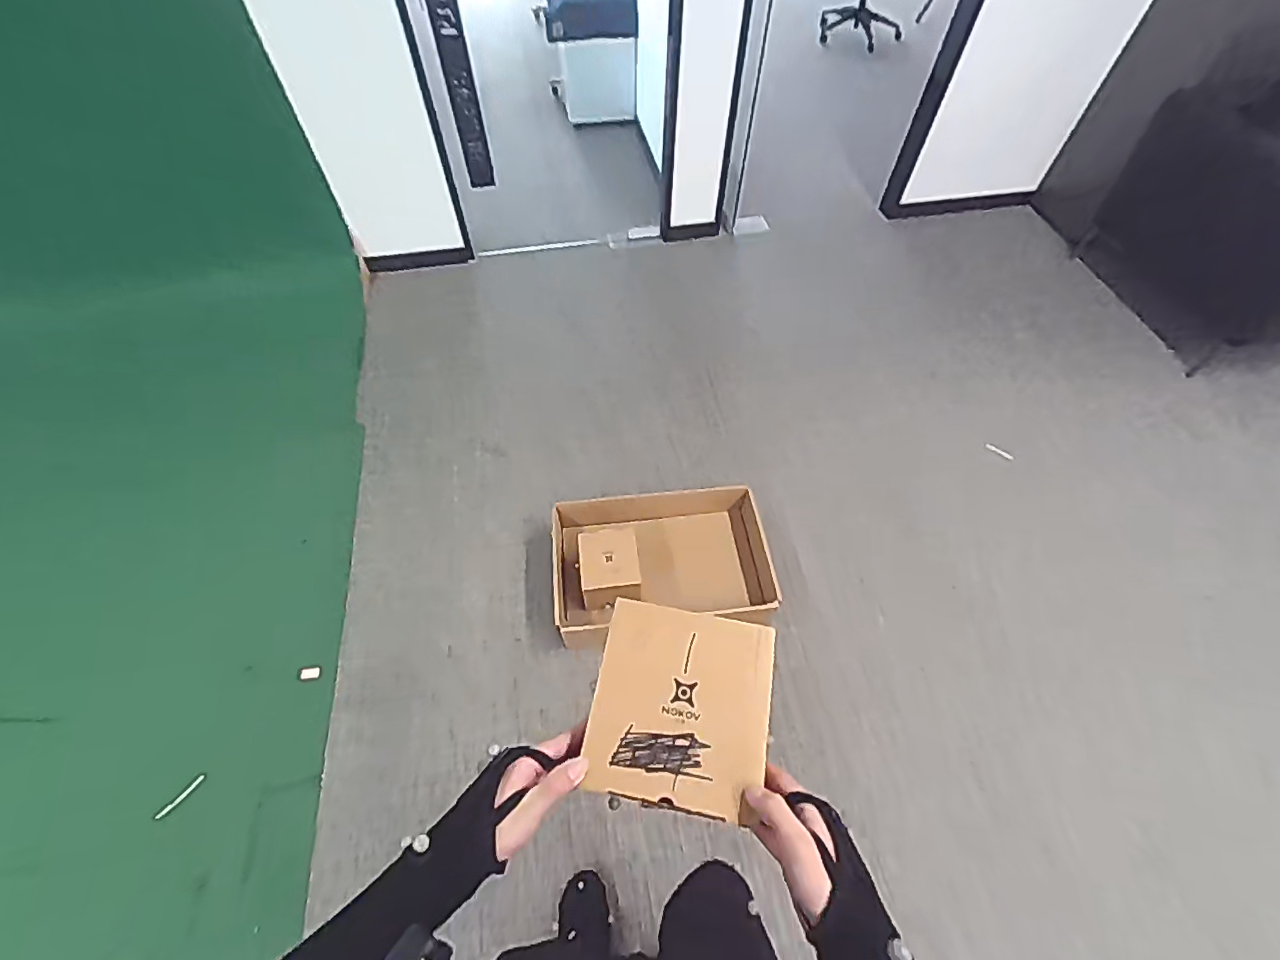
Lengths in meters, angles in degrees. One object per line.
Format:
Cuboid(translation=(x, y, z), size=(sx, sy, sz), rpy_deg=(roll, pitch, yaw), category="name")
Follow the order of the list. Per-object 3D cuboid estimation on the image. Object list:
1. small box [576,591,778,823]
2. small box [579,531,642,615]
Cuboid(translation=(0.041, 0.242, 0.572), size=(0.168, 0.176, 0.179), rpy_deg=(10, 59, 6), category="small box")
Cuboid(translation=(-0.087, 0.270, 1.561), size=(0.168, 0.176, 0.179), rpy_deg=(-6, 56, -4), category="small box")
